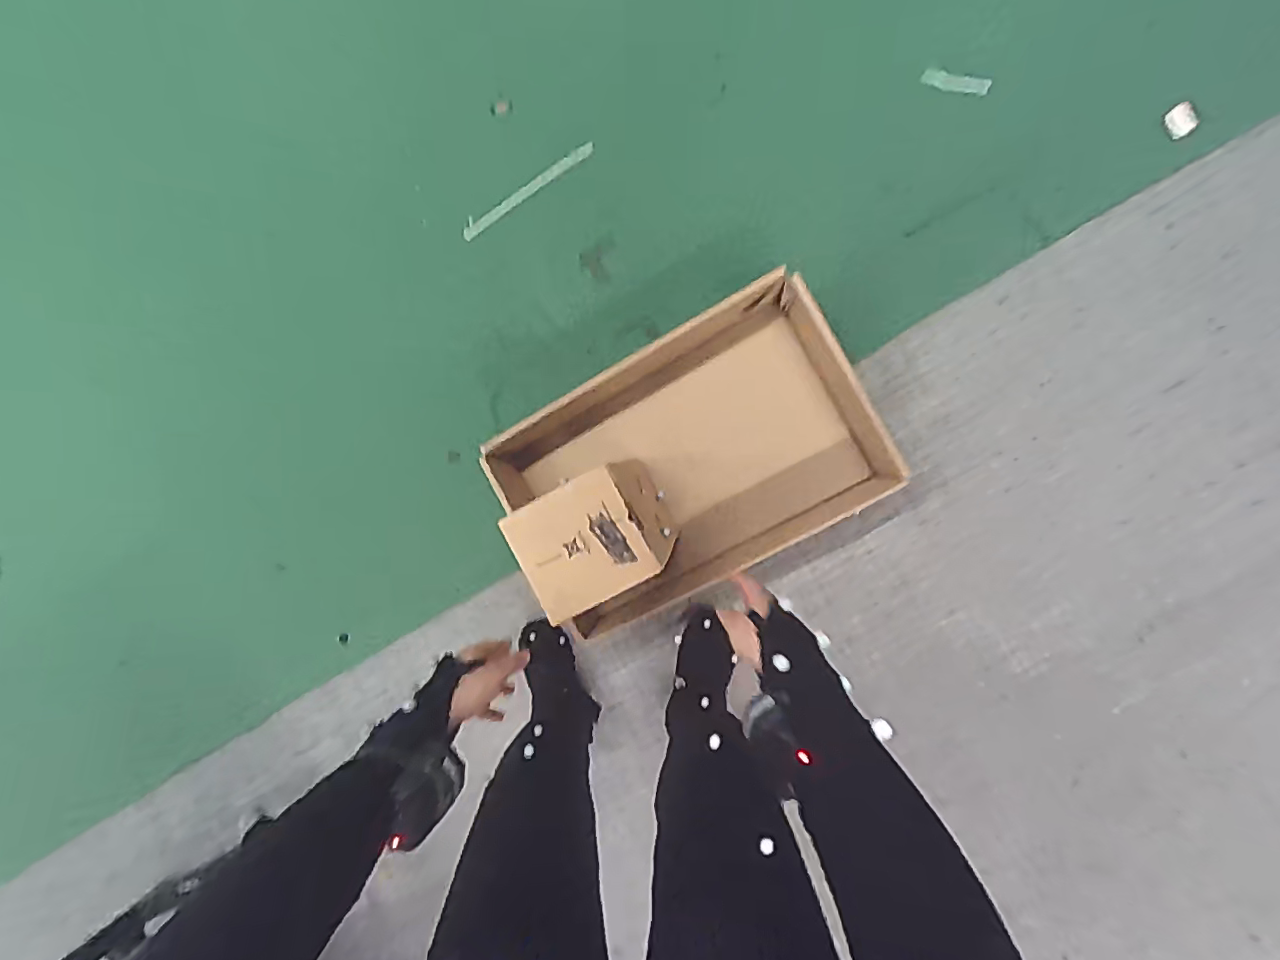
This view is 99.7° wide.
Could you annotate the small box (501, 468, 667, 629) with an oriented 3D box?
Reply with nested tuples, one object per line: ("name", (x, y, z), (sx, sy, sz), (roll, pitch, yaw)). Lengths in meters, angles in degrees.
("small box", (-0.069, 0.089, 0.804), (0.179, 0.176, 0.168), (-28, 88, 8))

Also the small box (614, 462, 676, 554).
("small box", (-0.049, 0.081, 0.967), (0.179, 0.176, 0.168), (-29, 89, 7))
